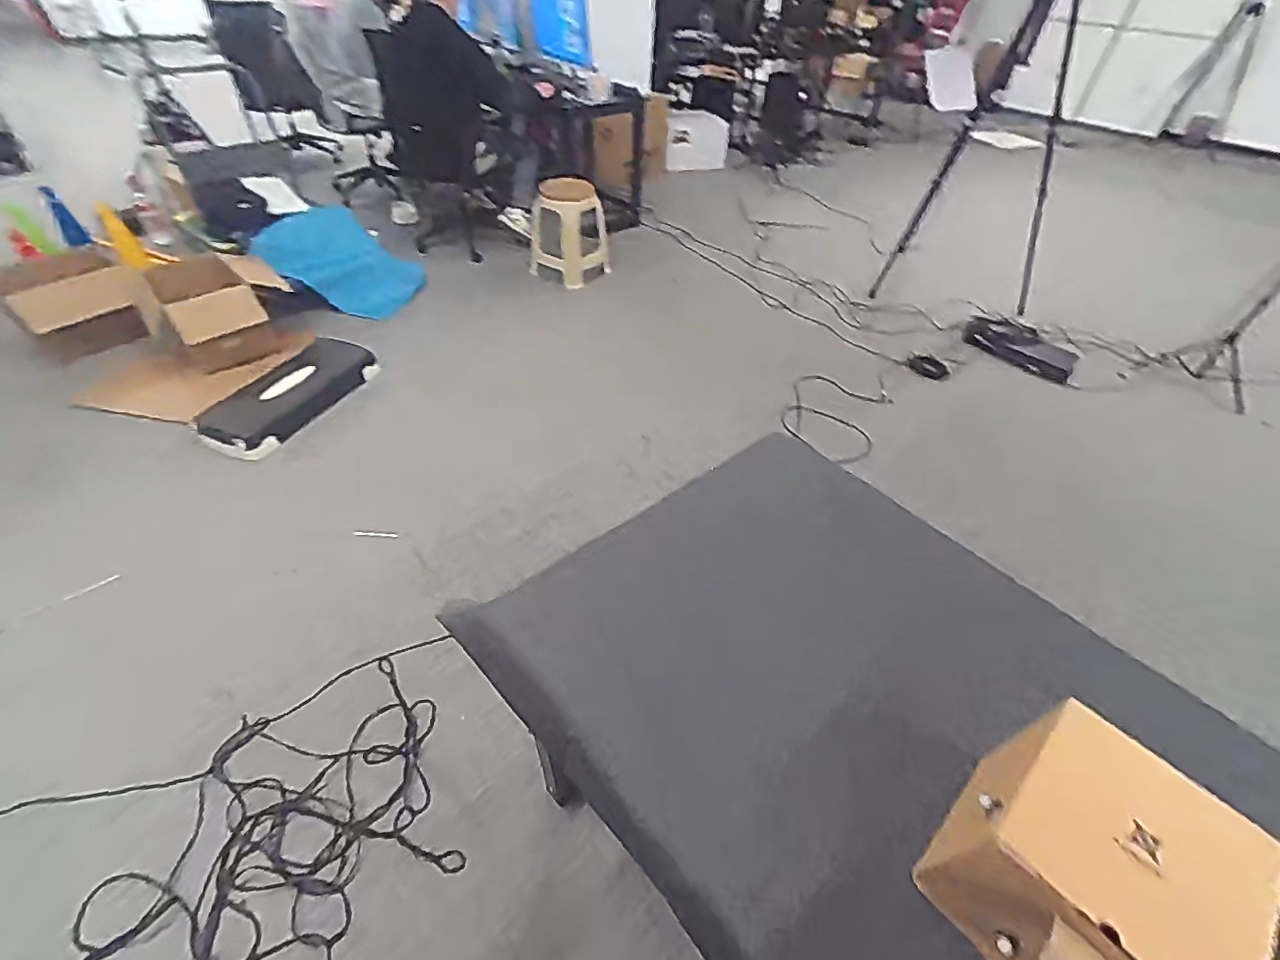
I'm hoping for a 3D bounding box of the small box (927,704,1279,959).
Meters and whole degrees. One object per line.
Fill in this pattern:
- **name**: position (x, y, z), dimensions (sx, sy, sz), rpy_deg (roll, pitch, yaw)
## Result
- **small box**: position (0.394, 0.346, 0.481), dimensions (0.179, 0.176, 0.168), rpy_deg (-31, 54, -30)
